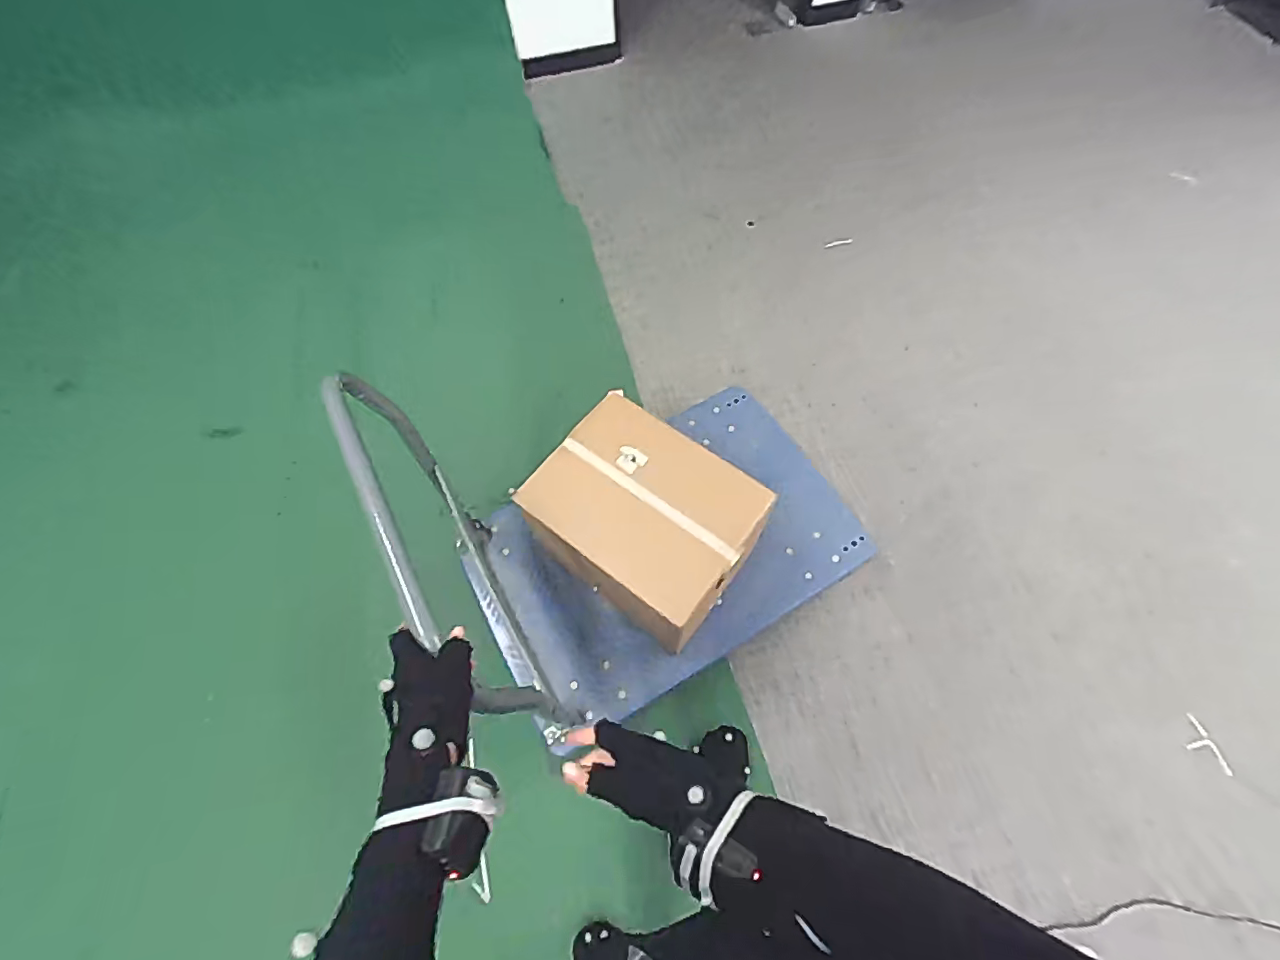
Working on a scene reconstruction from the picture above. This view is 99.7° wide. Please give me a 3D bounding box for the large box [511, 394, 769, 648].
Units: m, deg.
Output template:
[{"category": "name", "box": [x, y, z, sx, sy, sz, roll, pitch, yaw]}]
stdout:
[{"category": "large box", "box": [0.007, 0.096, 1.159, 0.408, 0.320, 0.320, 35, 70, 18]}]
